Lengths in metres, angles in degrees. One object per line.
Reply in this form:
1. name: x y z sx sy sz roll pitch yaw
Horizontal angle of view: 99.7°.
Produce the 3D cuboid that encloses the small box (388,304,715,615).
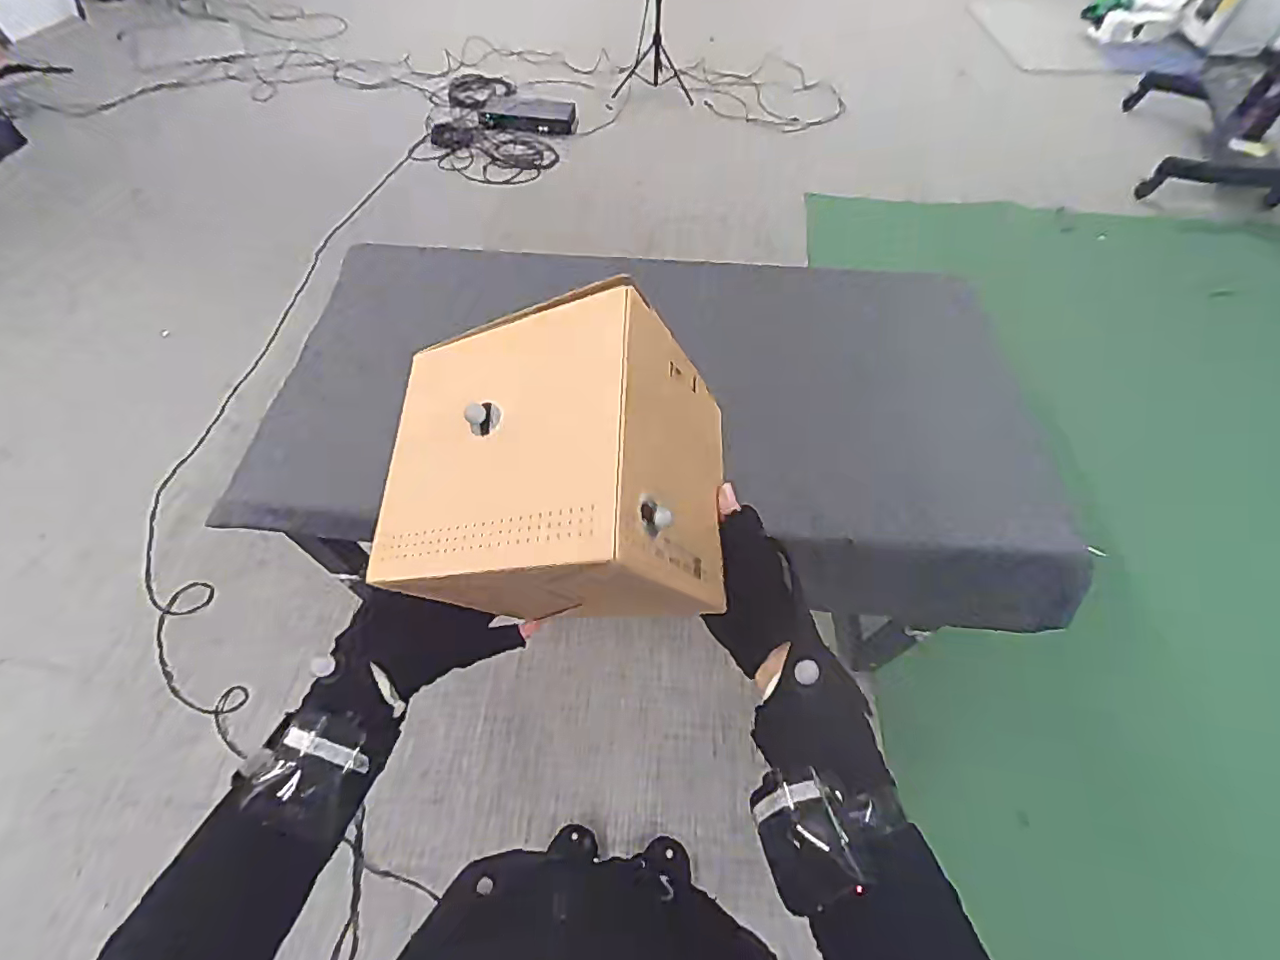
1. small box: -0.050 0.006 0.400 0.179 0.168 0.176 -9 66 24
